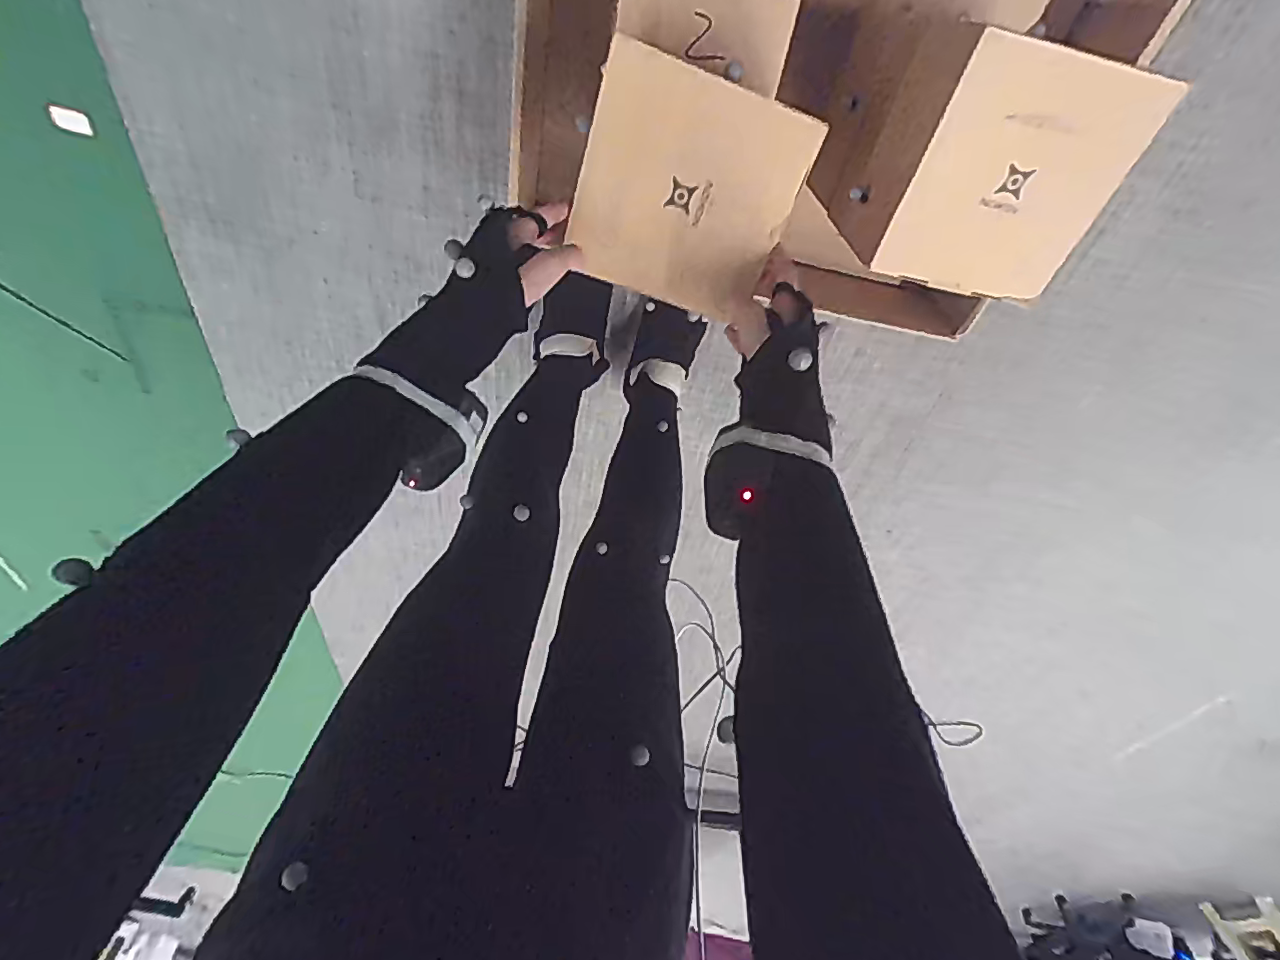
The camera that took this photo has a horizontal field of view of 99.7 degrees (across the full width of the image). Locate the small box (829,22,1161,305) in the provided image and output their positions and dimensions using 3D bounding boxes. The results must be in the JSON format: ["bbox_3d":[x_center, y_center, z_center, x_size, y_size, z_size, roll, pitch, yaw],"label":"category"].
[{"bbox_3d":[0.296,-0.296,0.507,0.168,0.176,0.179,11,131,-7],"label":"small box"}]

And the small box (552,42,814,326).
[{"bbox_3d":[0.027,-0.273,0.517,0.179,0.176,0.168,15,120,-13],"label":"small box"}]
